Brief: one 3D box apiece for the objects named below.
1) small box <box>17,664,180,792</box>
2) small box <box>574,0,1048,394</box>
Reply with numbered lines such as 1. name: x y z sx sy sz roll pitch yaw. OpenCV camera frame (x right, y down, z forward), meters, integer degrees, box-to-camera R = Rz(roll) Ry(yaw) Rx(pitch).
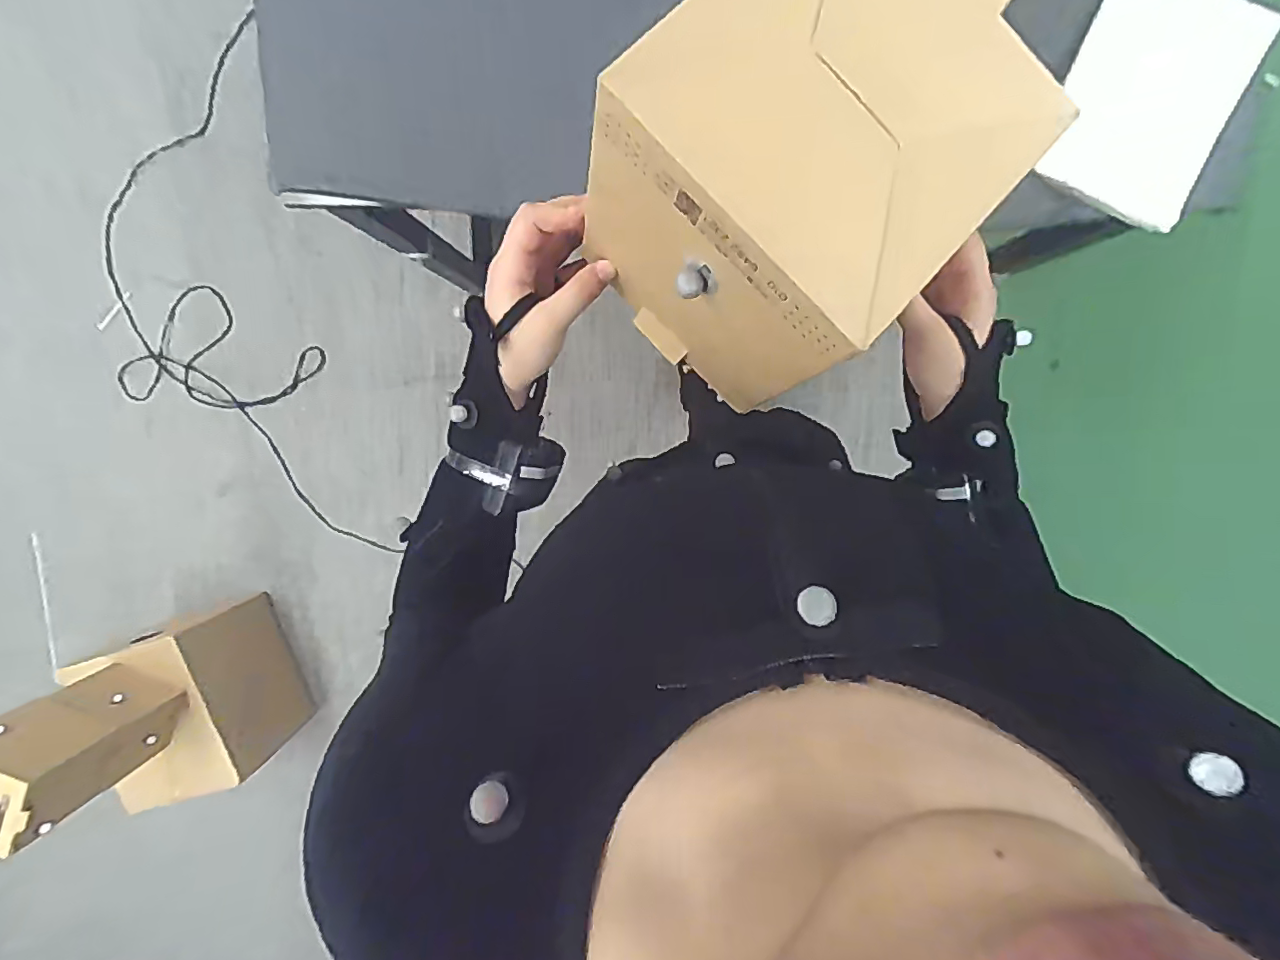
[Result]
1. small box: -1.180 0.537 1.193 0.179 0.176 0.168 23 97 -4
2. small box: 0.080 -0.180 0.321 0.168 0.176 0.179 43 82 -4
